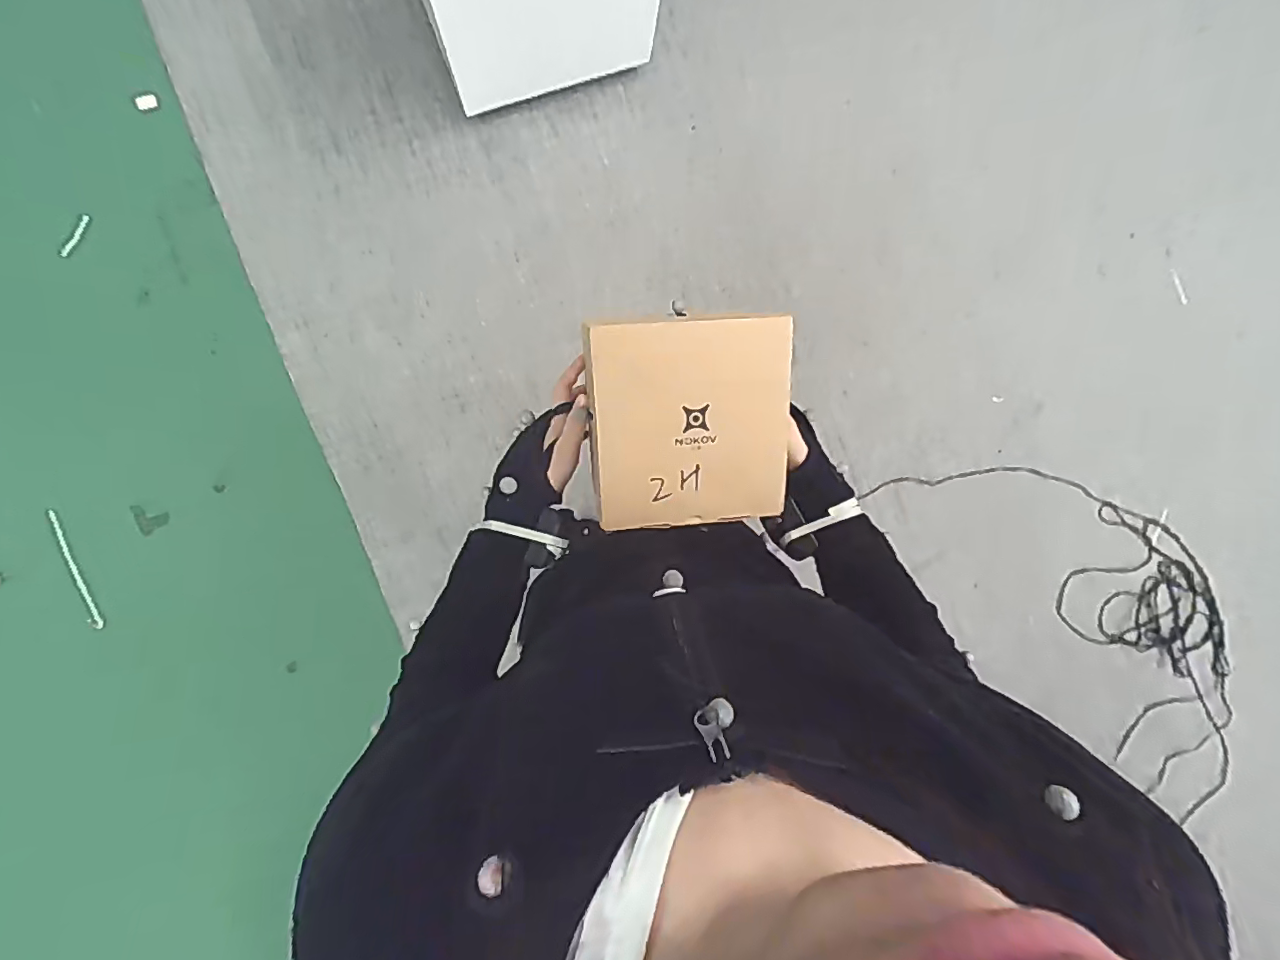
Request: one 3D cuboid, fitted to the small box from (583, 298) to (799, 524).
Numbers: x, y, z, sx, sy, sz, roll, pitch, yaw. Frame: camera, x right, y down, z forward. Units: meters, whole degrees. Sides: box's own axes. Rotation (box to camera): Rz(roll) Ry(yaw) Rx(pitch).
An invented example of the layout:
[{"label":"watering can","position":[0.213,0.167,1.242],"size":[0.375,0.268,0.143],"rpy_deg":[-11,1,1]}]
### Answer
[{"label":"small box","position":[0.035,-0.074,0.510],"size":[0.168,0.176,0.179],"rpy_deg":[-5,108,-7]}]
